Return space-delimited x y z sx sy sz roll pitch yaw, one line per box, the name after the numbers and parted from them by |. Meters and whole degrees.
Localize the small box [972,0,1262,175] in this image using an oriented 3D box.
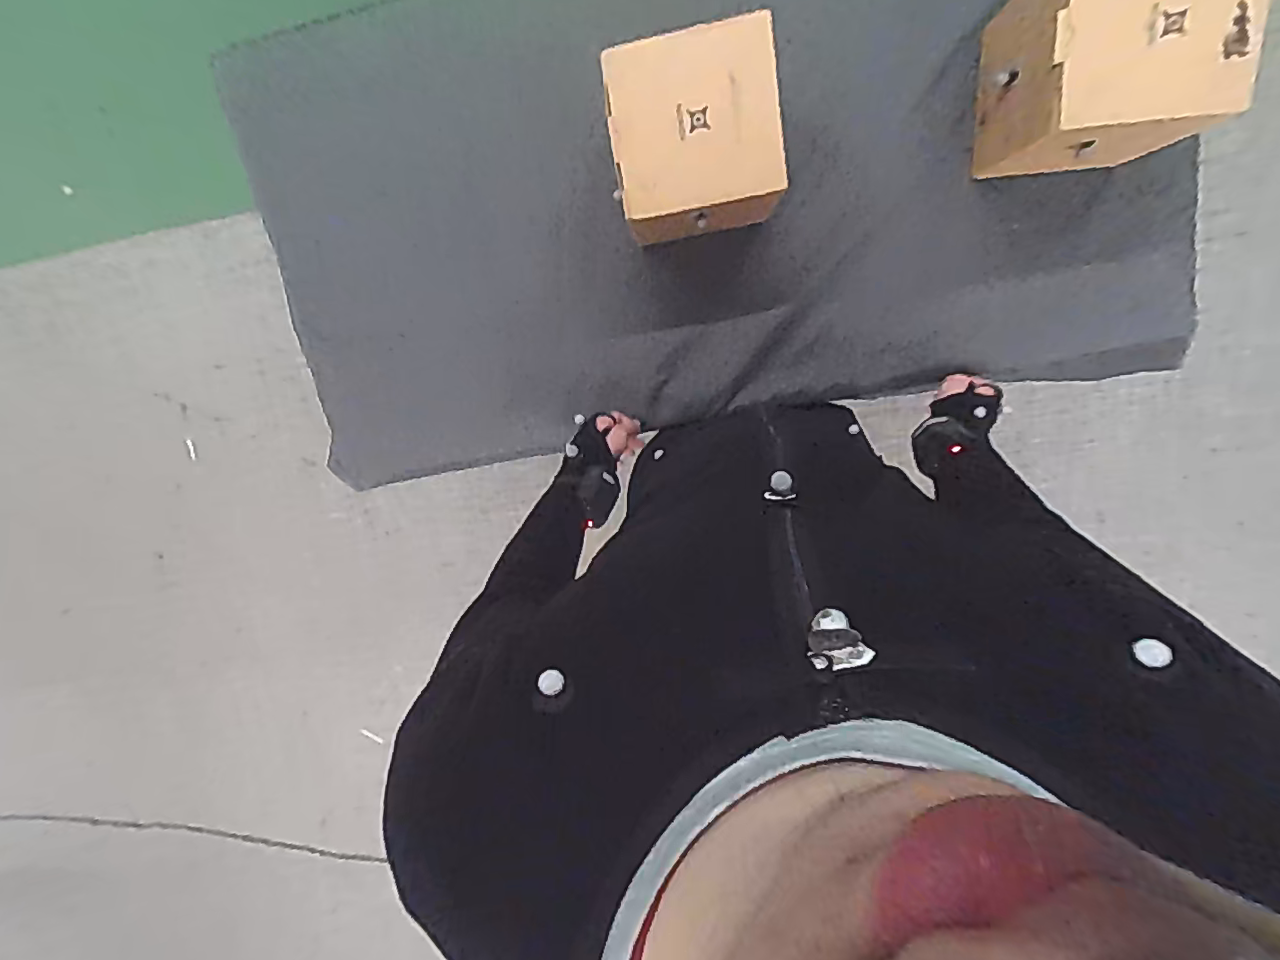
0.491 -0.446 0.583 0.179 0.176 0.168 -2 105 6 | small box

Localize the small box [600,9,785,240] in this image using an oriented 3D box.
0.062 -0.395 0.637 0.179 0.176 0.168 -9 105 6 | small box
